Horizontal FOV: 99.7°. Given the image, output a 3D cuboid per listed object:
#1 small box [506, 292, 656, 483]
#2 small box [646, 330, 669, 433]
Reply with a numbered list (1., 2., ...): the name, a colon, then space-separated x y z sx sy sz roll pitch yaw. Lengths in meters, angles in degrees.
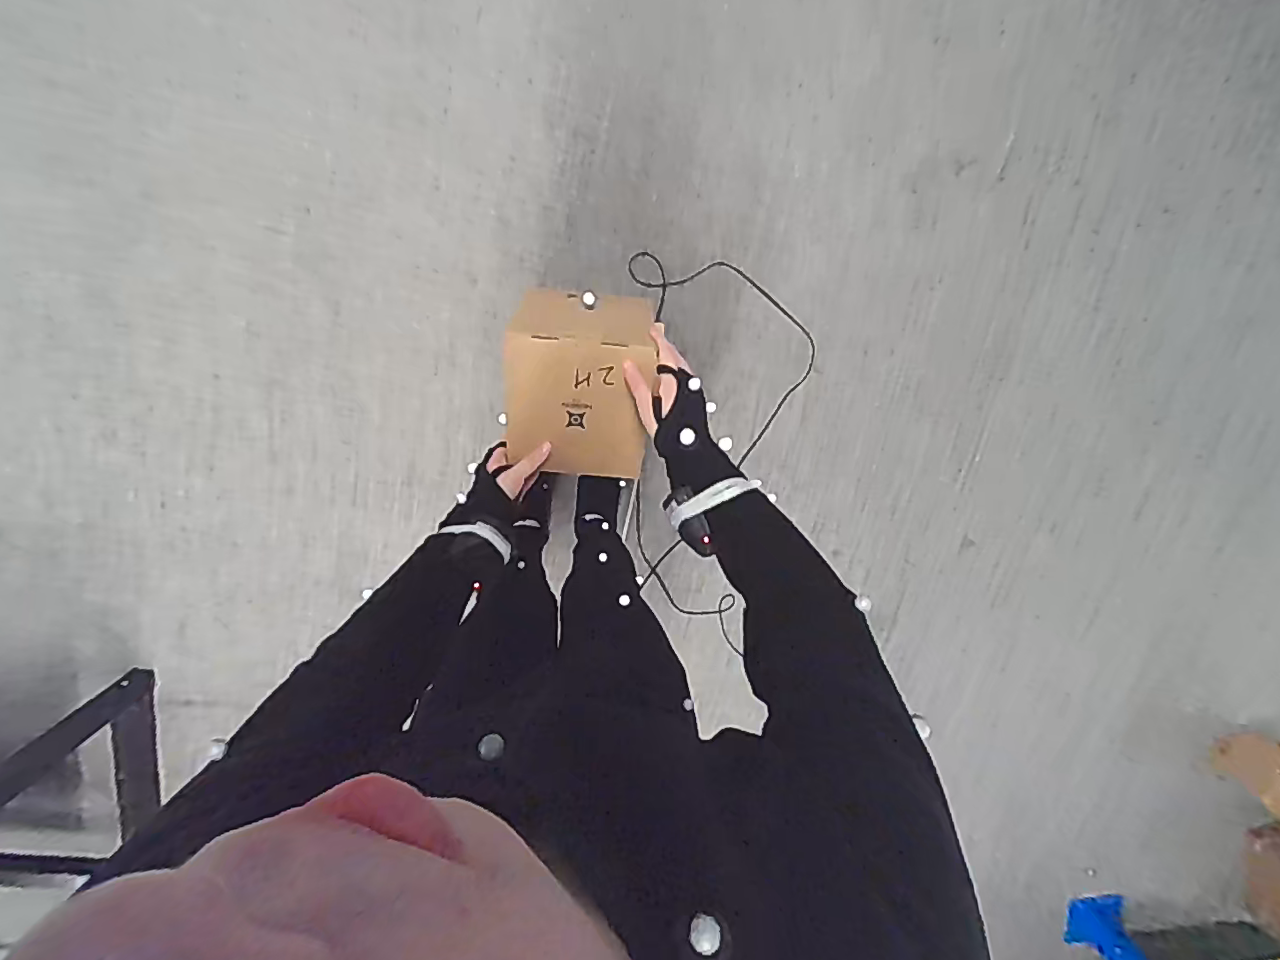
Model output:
1. small box: -0.072 -0.121 0.693 0.168 0.176 0.179 5 126 -4
2. small box: -0.049 -0.178 0.935 0.179 0.176 0.168 1 103 -3
